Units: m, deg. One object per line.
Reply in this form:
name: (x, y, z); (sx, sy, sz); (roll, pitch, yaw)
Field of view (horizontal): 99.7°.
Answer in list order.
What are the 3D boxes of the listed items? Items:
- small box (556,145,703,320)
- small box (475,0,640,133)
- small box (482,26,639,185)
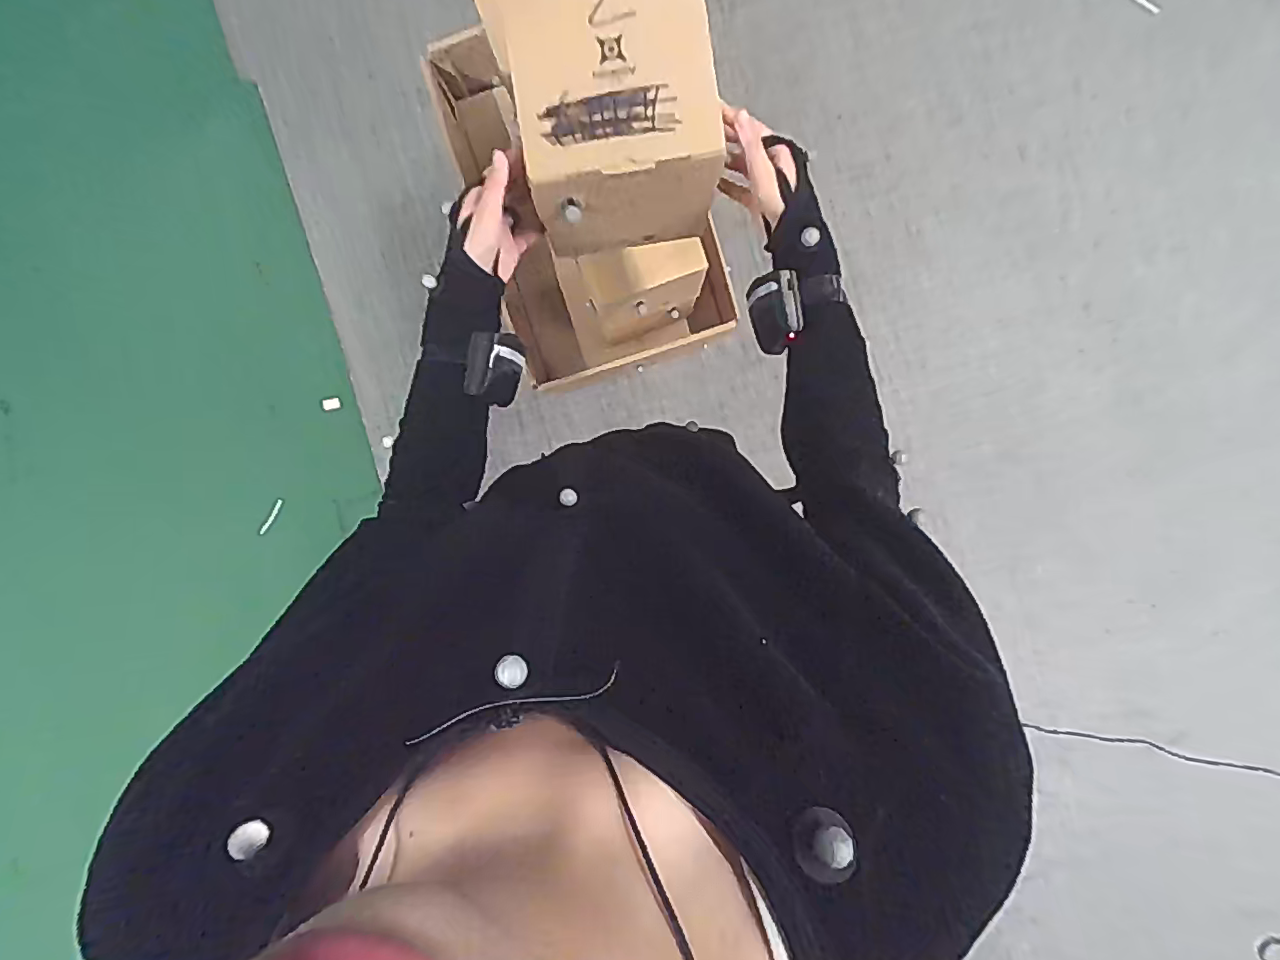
small box: (-0.010, -0.358, 0.827); (0.168, 0.176, 0.179); (-19, 93, 3)
small box: (-0.101, -0.557, 0.651); (0.168, 0.176, 0.179); (-19, 96, 2)
small box: (-0.106, -0.575, 0.813); (0.168, 0.176, 0.179); (-22, 96, 3)
